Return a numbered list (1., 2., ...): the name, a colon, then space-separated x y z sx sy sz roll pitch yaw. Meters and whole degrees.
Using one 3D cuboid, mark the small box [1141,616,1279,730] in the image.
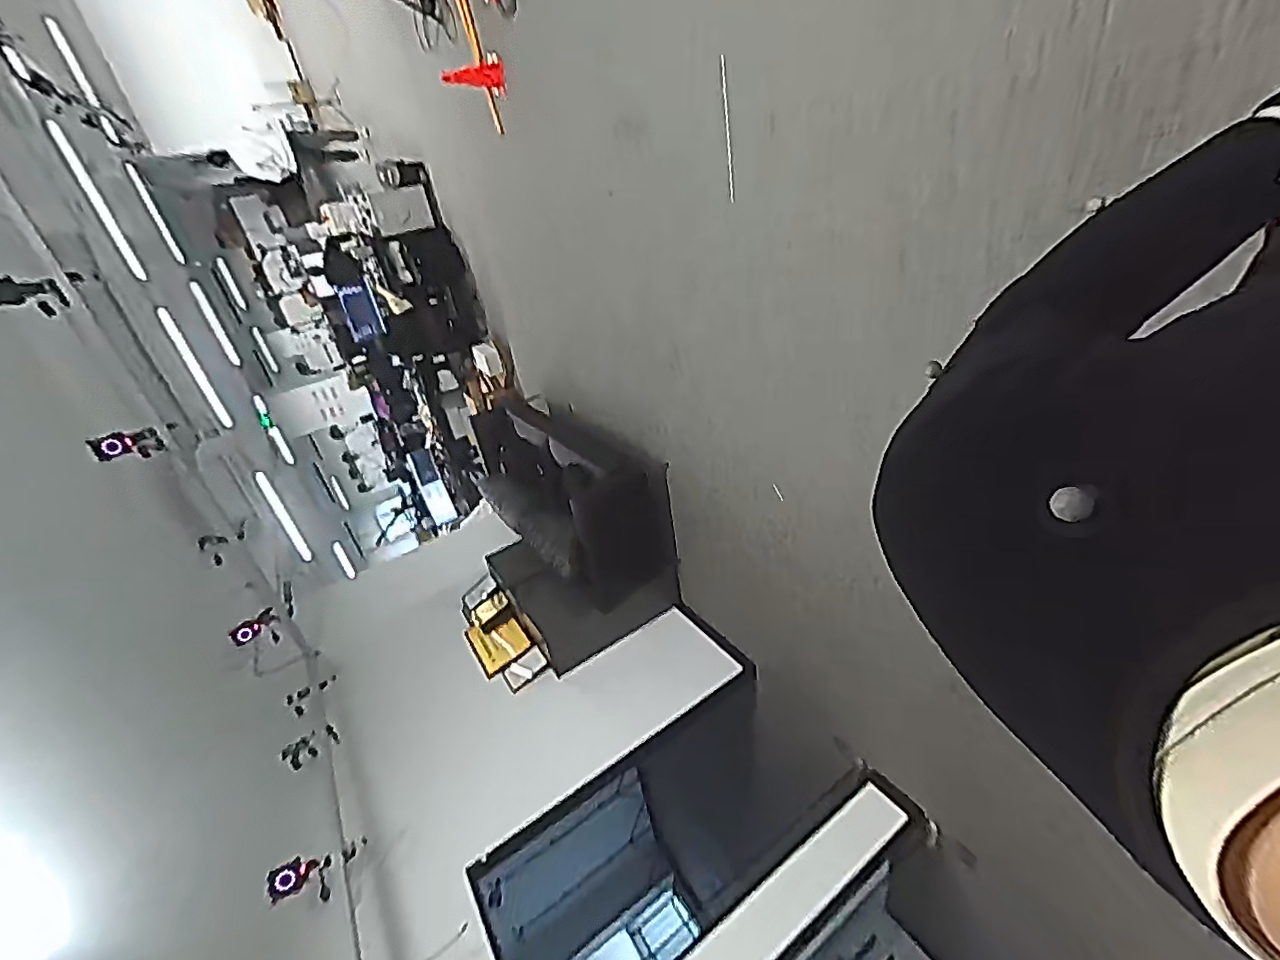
1. small box: 1.441 0.479 1.366 0.179 0.176 0.168 38 144 44
